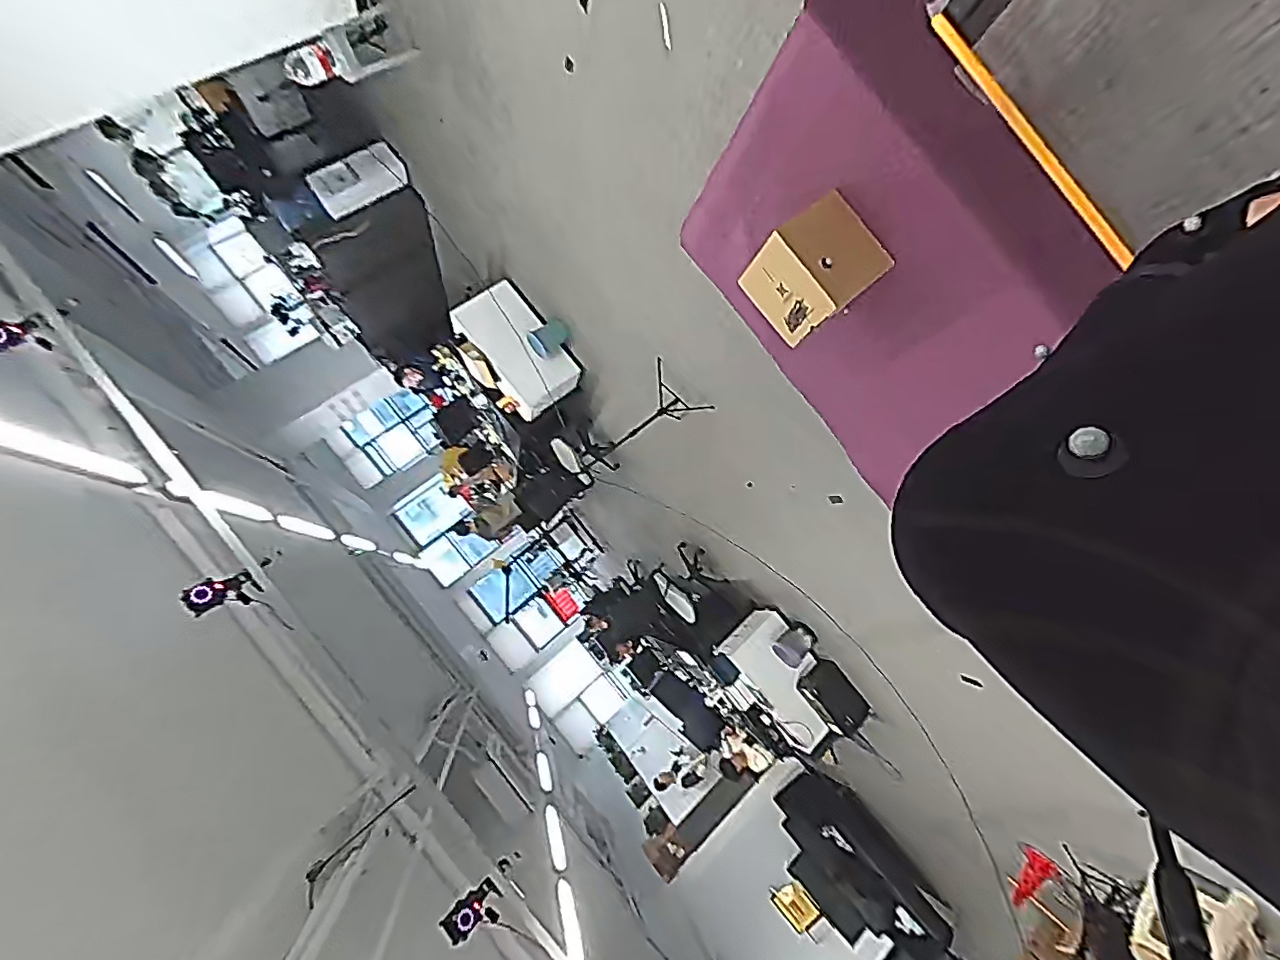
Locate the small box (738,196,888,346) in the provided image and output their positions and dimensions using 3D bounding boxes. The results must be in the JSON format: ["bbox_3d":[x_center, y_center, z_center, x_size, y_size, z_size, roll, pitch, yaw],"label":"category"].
[{"bbox_3d":[0.327,-0.396,1.030,0.179,0.176,0.168,52,163,0],"label":"small box"}]
